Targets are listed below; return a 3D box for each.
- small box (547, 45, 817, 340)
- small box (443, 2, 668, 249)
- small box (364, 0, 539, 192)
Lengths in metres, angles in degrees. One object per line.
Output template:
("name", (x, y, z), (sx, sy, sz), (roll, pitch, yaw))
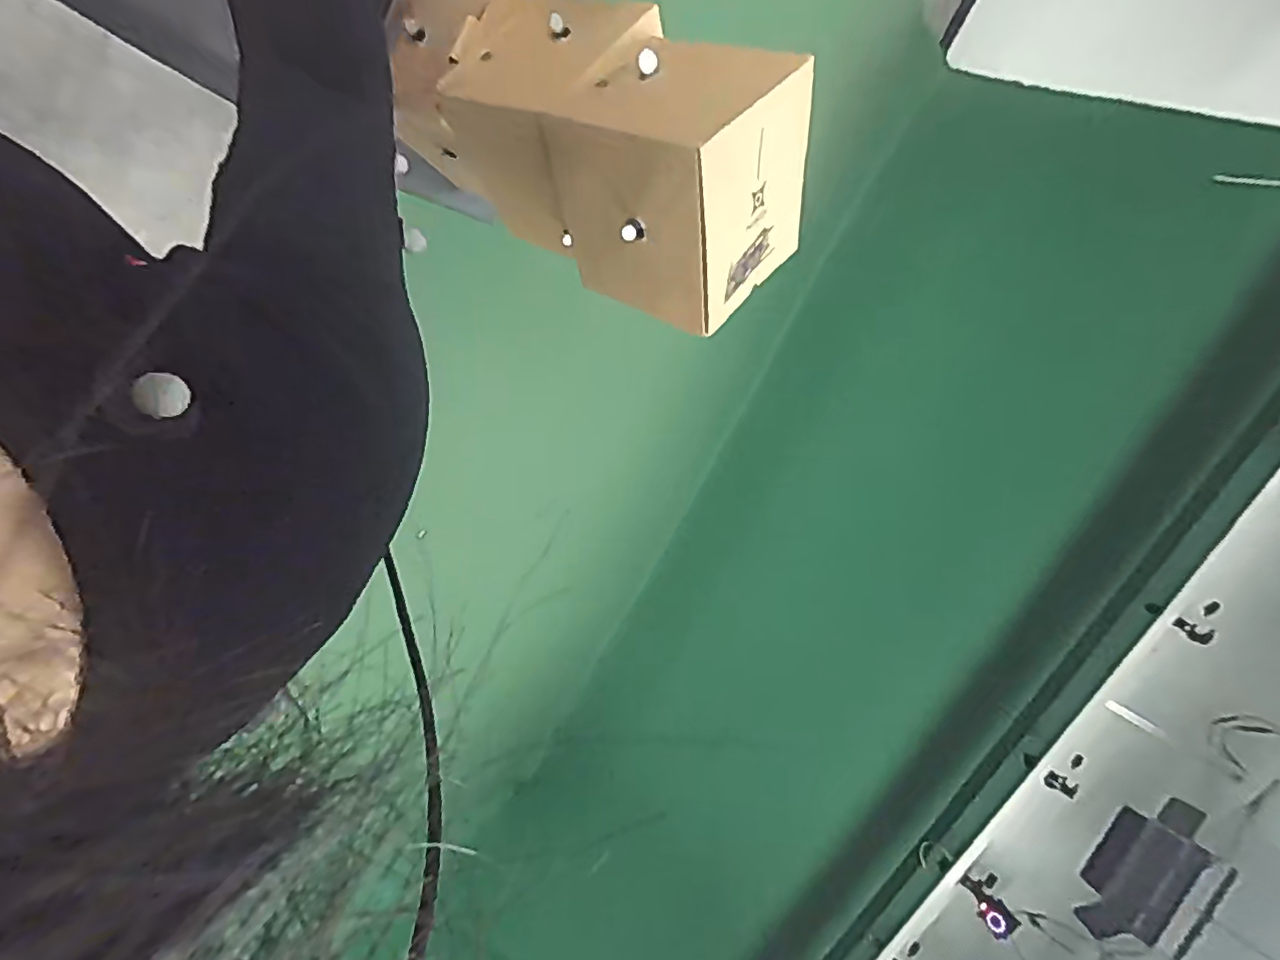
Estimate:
("small box", (0.040, -0.273, 0.513), (0.168, 0.176, 0.179), (-47, 151, -22))
("small box", (-0.074, -0.371, 0.584), (0.168, 0.176, 0.179), (-52, 153, -13))
("small box", (-0.192, -0.463, 0.652), (0.168, 0.176, 0.179), (-61, 152, 6))
